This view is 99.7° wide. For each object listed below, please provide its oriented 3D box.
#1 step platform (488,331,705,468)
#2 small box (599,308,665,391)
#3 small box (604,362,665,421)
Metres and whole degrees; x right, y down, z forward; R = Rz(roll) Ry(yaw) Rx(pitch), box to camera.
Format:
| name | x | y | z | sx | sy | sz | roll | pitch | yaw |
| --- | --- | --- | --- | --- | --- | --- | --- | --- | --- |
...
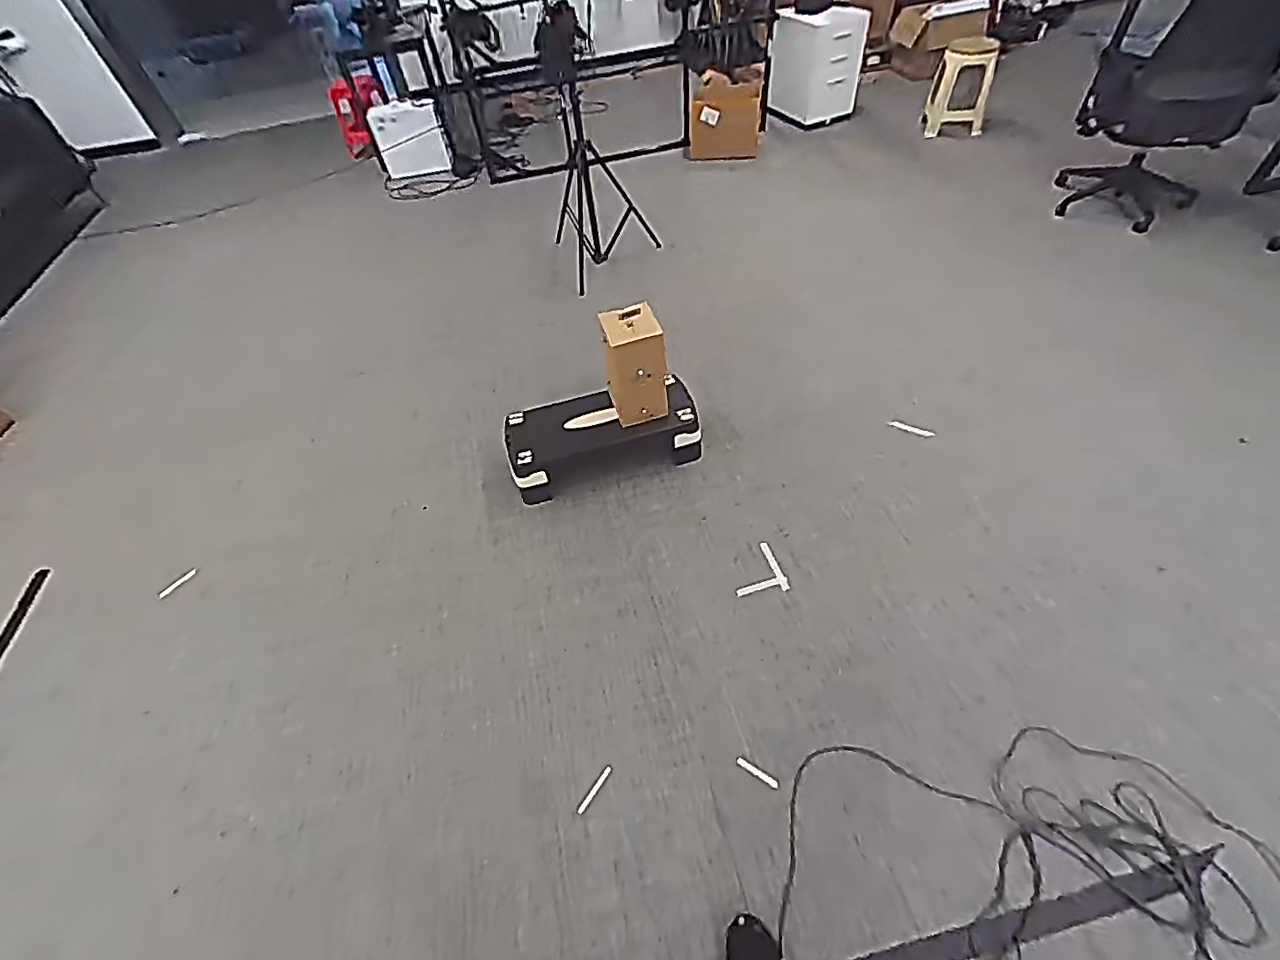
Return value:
| name | x | y | z | sx | sy | sz | roll | pitch | yaw |
| --- | --- | --- | --- | --- | --- | --- | --- | --- | --- |
| step platform | -0.136 | -0.265 | 1.780 | 0.684 | 0.204 | 0.286 | -15 | 50 | -7 |
| small box | -0.025 | -0.414 | 1.722 | 0.168 | 0.176 | 0.179 | -17 | 51 | -6 |
| small box | -0.017 | -0.304 | 1.844 | 0.168 | 0.176 | 0.179 | -17 | 51 | -6 |
